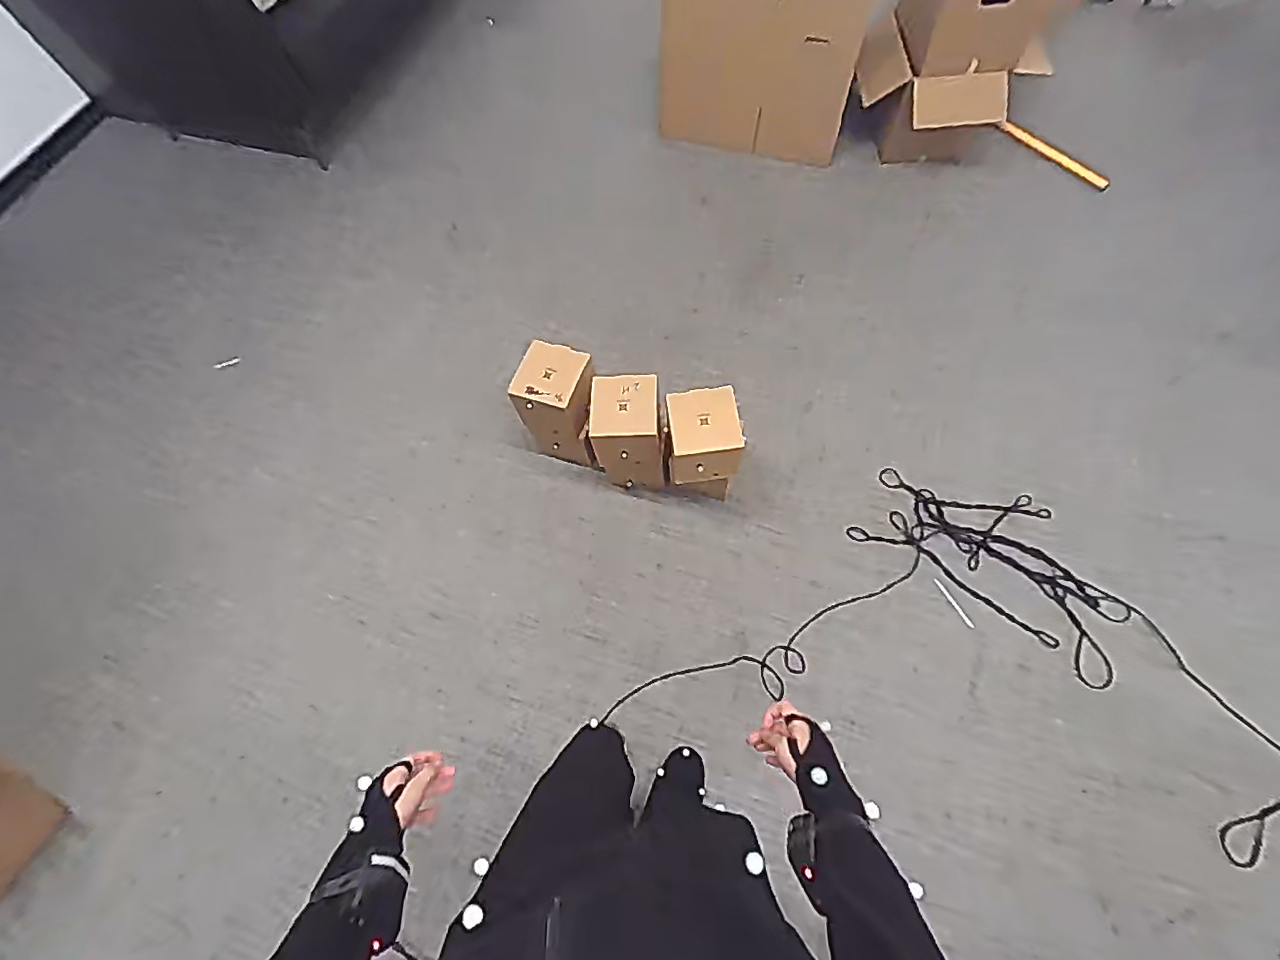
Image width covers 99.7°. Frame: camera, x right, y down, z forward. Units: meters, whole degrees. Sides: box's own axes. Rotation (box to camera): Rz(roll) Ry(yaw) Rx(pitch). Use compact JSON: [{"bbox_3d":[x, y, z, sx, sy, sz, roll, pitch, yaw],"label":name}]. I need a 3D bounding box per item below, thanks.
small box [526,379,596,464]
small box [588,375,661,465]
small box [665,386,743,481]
[{"bbox_3d":[-0.205,-0.165,1.588,0.179,0.176,0.168,15,67,12],"label":"small box"},{"bbox_3d":[-0.033,-0.148,1.386,0.168,0.176,0.179,0,65,5],"label":"small box"},{"bbox_3d":[0.157,-0.107,1.349,0.168,0.176,0.179,-8,64,2],"label":"small box"}]
